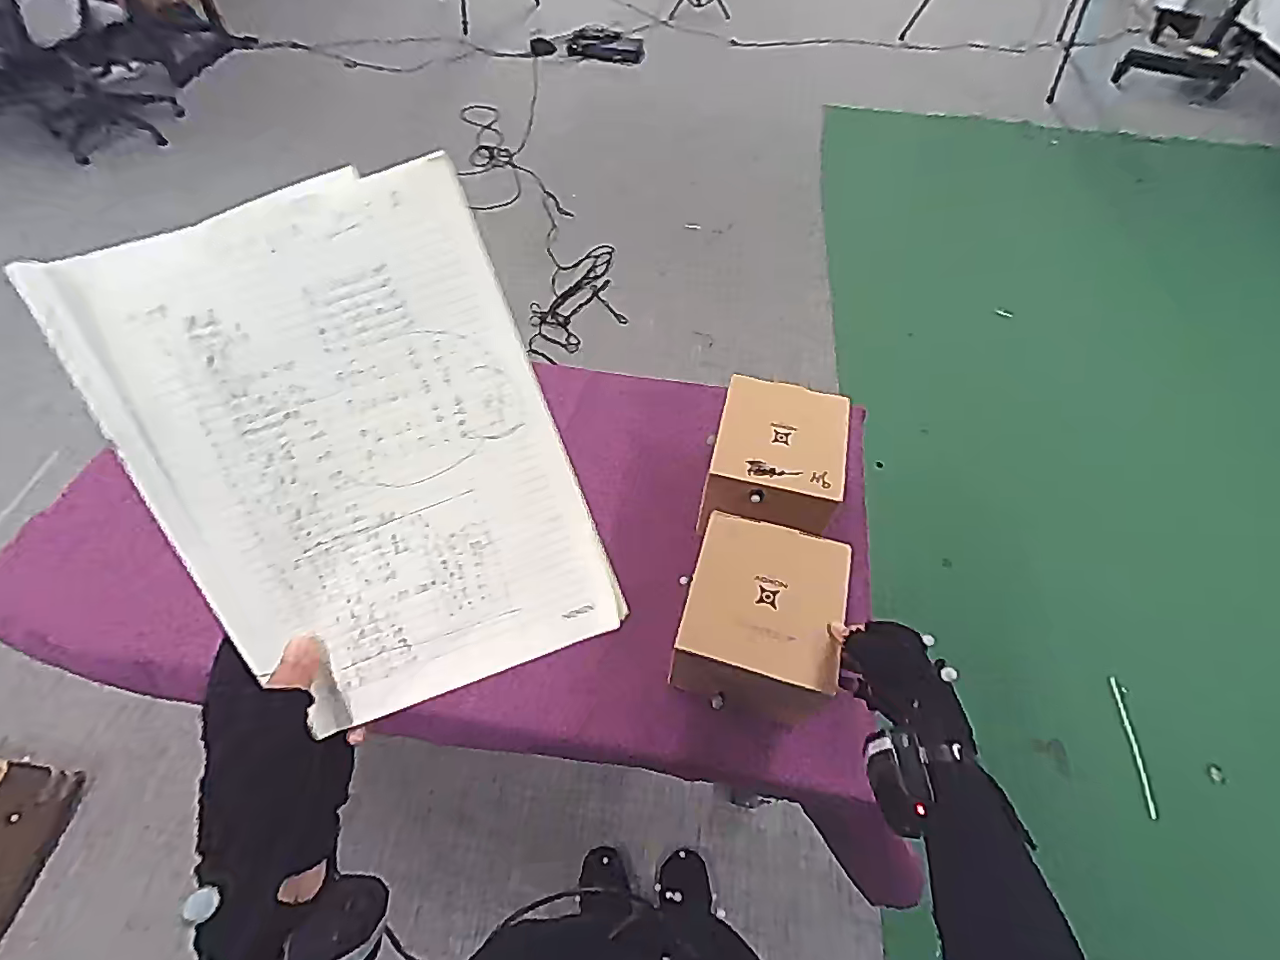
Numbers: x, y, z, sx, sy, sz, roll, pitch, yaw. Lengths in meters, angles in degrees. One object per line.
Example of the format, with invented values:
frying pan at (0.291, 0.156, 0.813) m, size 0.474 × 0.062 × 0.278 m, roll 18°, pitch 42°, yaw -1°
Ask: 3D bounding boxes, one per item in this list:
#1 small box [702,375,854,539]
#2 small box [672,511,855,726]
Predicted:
small box at (0.189, -0.015, 0.765) m, size 0.168 × 0.176 × 0.179 m, roll 13°, pitch 57°, yaw 8°
small box at (0.139, 0.169, 0.645) m, size 0.168 × 0.176 × 0.179 m, roll 15°, pitch 58°, yaw 10°
